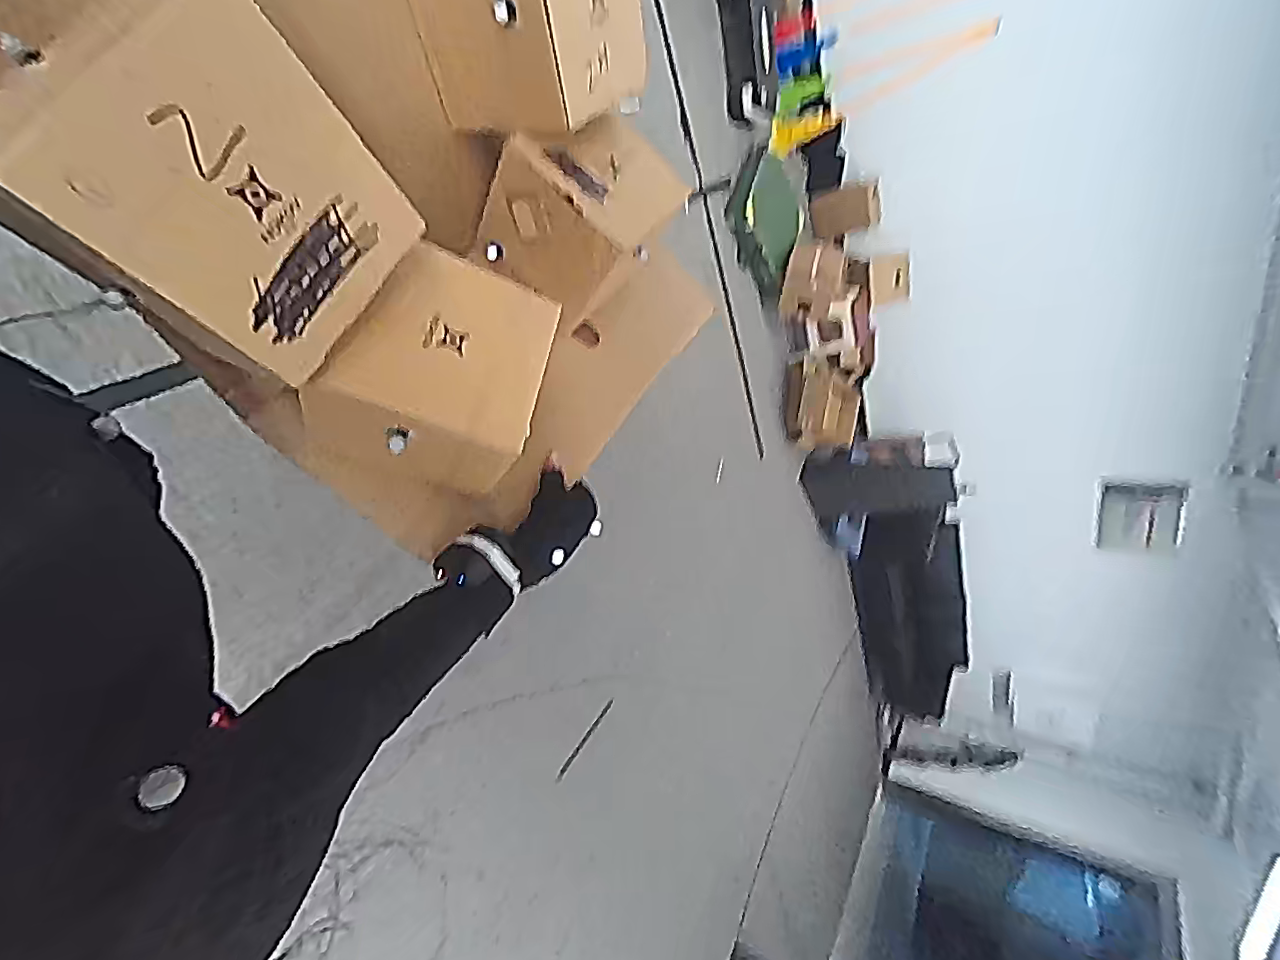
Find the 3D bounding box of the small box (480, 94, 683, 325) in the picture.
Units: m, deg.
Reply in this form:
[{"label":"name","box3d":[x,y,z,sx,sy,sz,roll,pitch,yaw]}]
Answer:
[{"label":"small box","box3d":[-0.082,-0.333,0.688,0.168,0.176,0.179,42,55,-9]}]
